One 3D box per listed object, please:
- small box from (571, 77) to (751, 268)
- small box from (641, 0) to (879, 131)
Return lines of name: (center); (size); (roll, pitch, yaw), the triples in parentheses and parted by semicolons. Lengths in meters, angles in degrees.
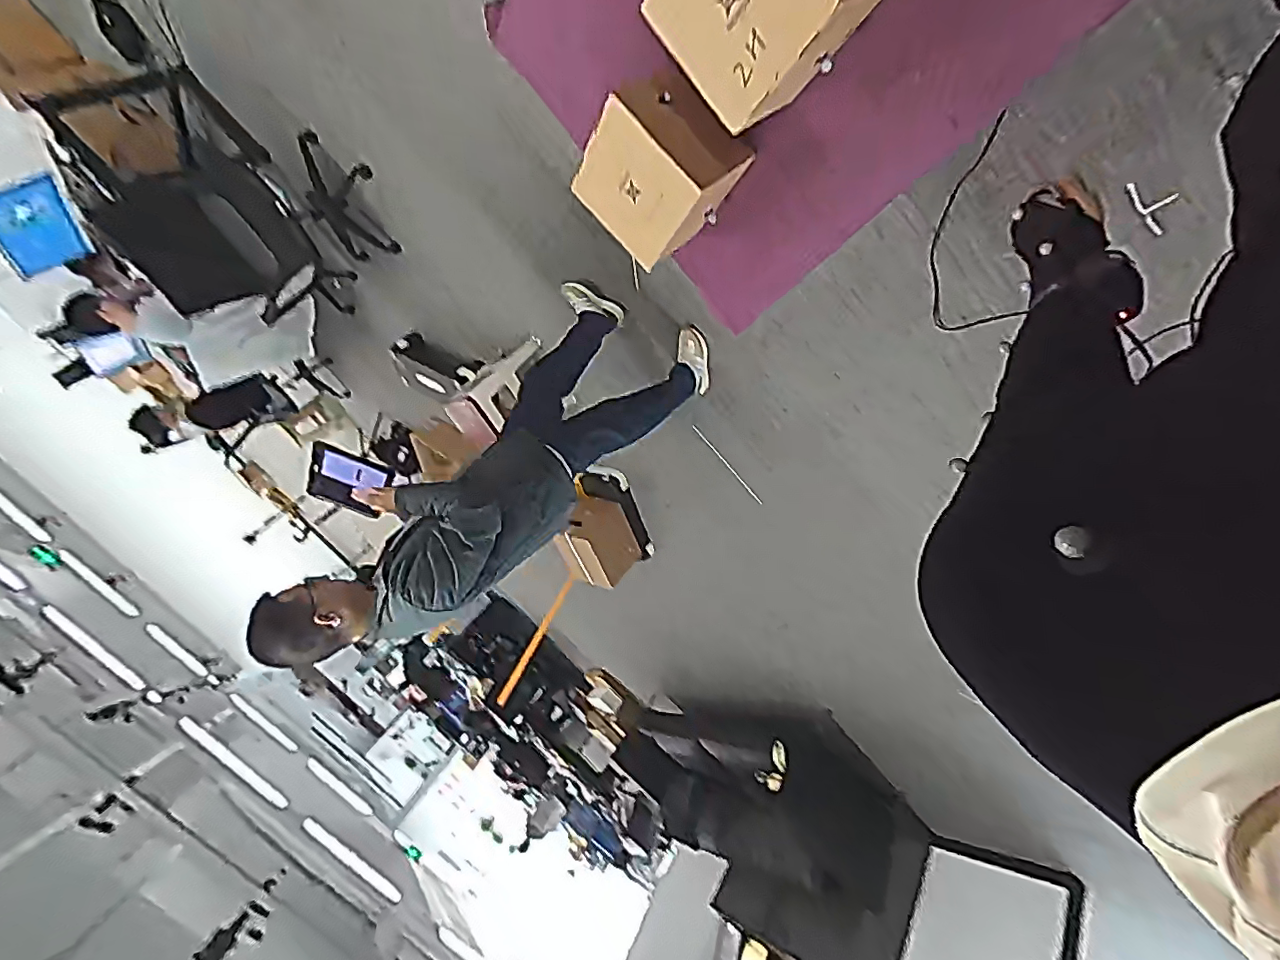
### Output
small box: (0.033, -0.470, 0.823); (0.179, 0.176, 0.168); (45, 148, -6)
small box: (0.142, -0.550, 0.613); (0.179, 0.176, 0.168); (48, 147, -10)
